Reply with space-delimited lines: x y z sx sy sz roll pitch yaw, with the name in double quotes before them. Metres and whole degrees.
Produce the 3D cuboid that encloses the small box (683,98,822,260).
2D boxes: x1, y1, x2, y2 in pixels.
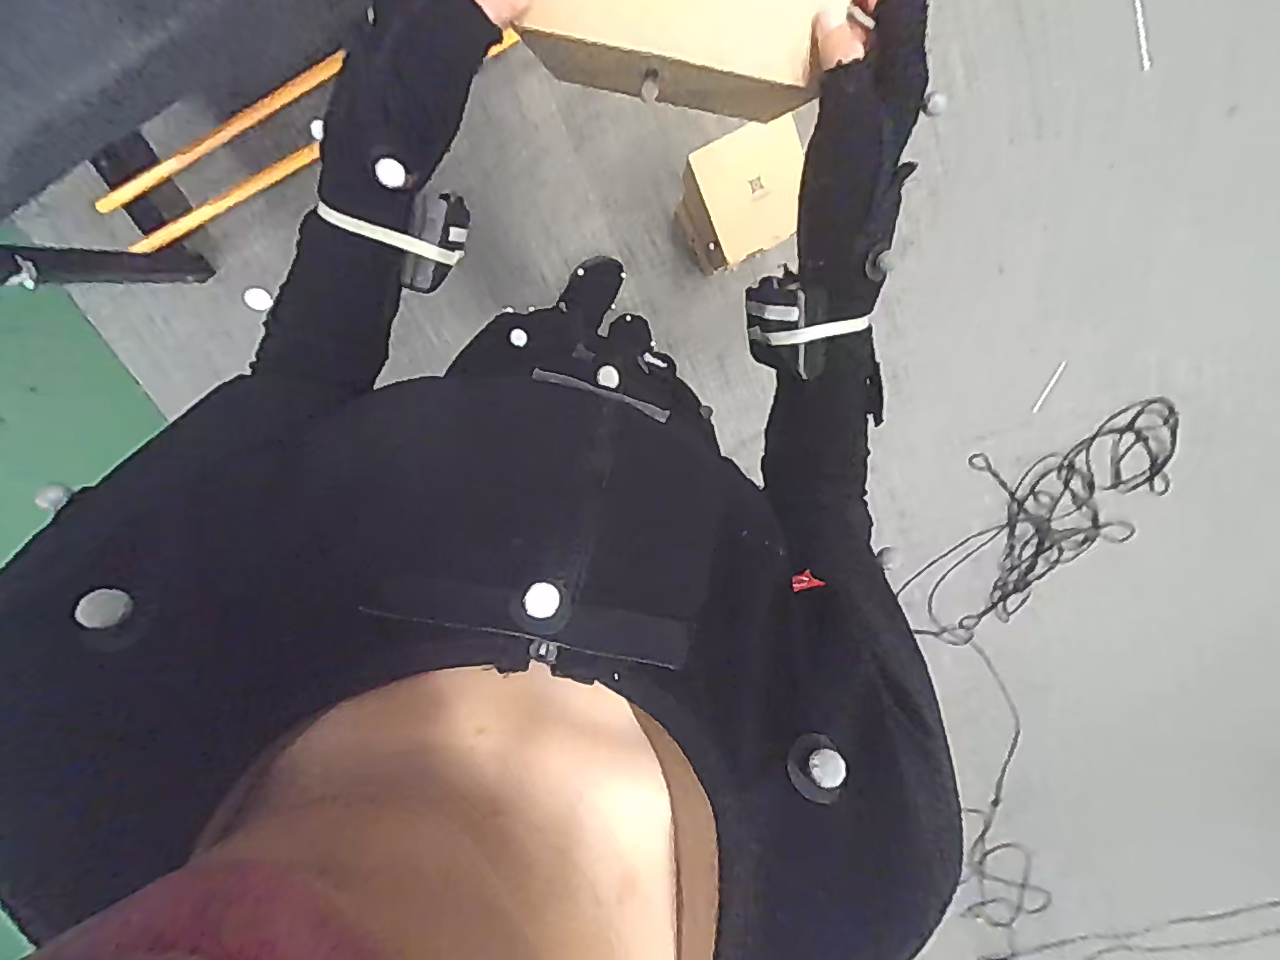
"small box" 0.178 -0.486 0.906 0.168 0.176 0.179 -23 109 9
